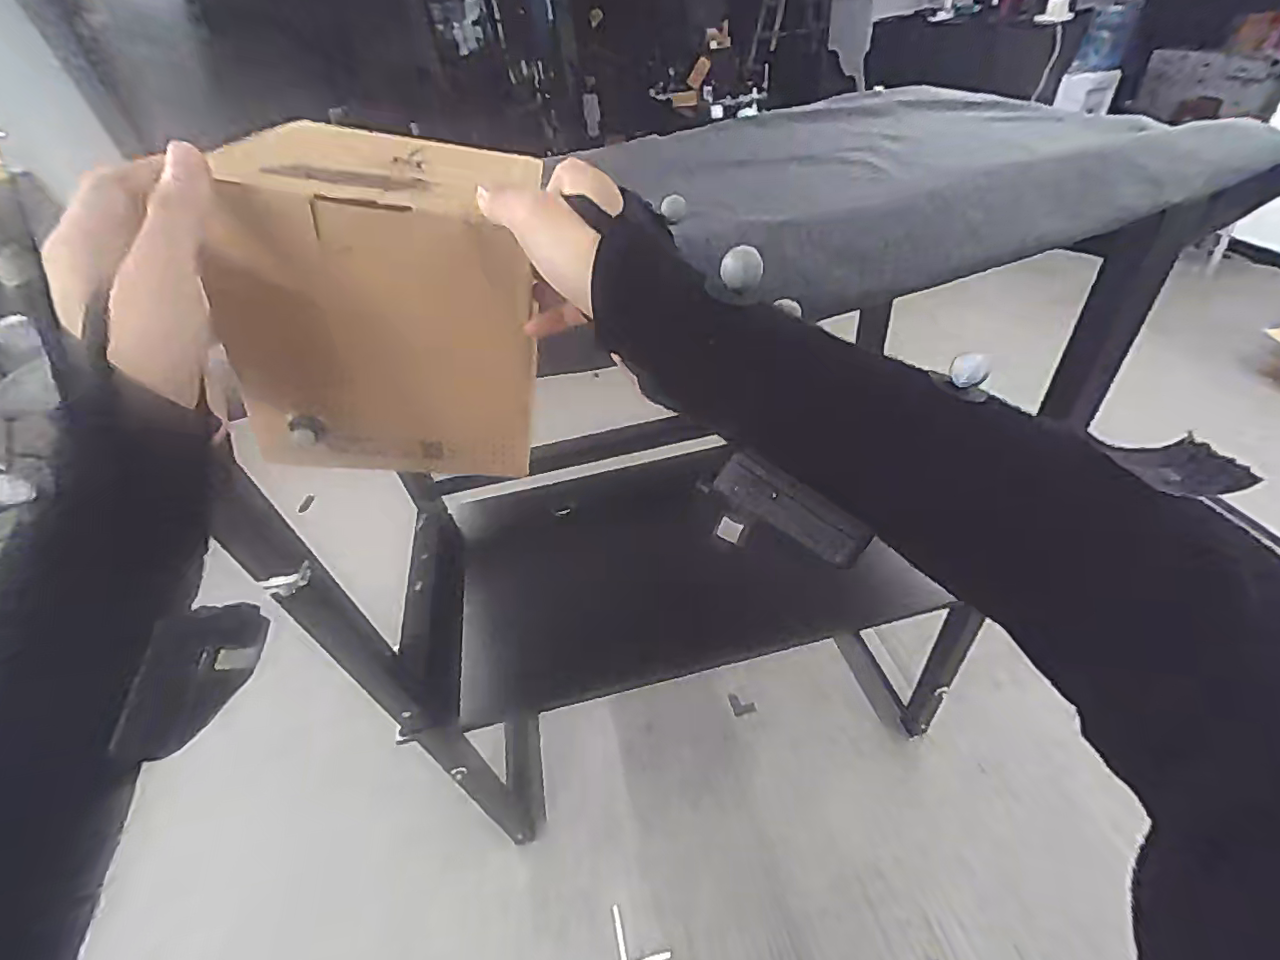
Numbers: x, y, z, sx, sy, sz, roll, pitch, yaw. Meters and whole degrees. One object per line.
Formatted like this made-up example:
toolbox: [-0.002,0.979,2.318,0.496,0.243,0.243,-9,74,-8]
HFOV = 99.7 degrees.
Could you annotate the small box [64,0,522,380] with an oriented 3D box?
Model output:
small box: [-0.161,-0.176,0.332,0.168,0.176,0.179,2,39,-11]
